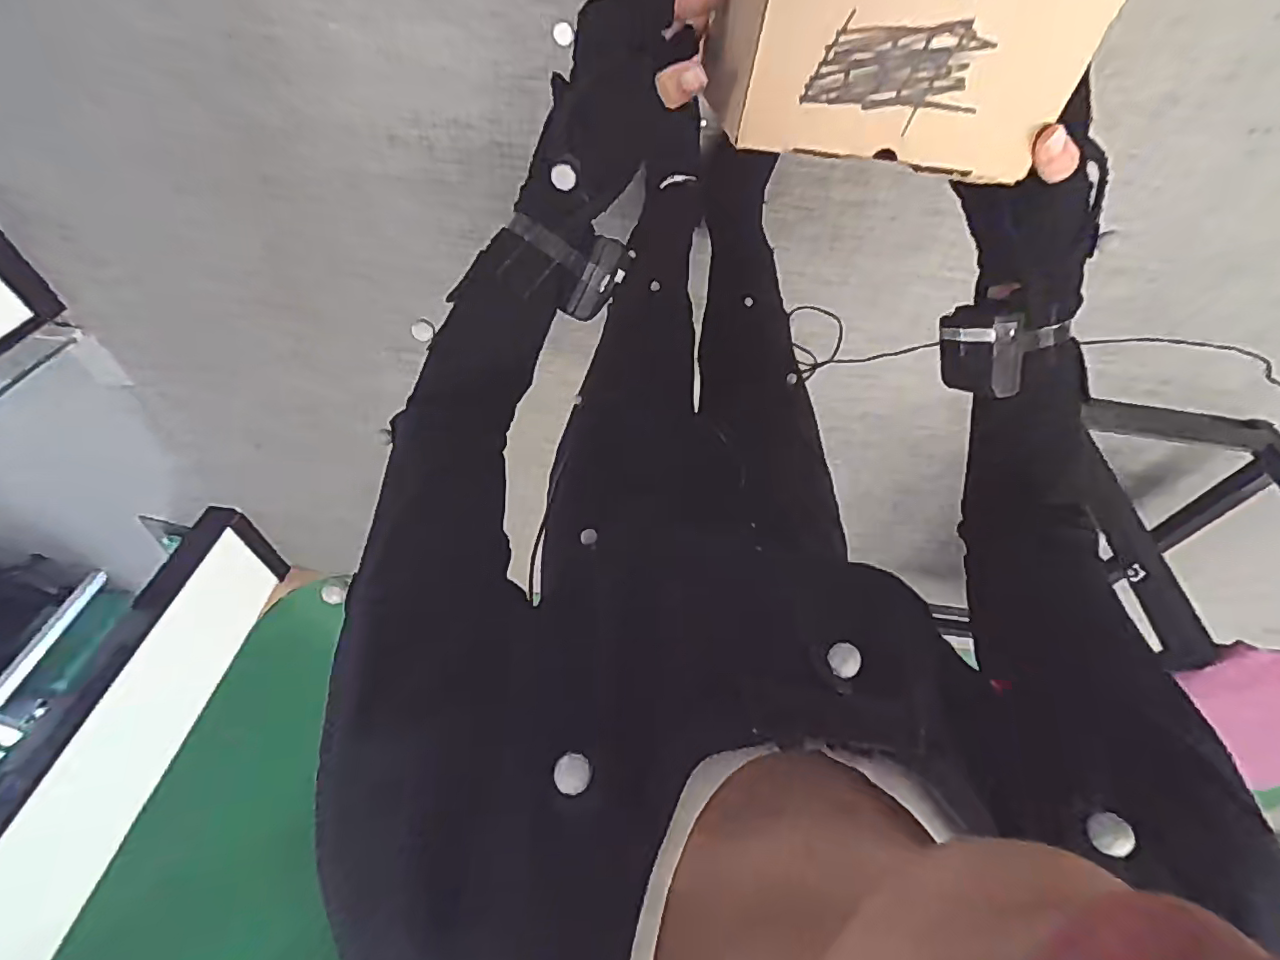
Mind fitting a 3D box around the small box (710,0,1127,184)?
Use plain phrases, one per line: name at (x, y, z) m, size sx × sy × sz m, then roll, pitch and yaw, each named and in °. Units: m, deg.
small box at (0.138, -0.287, 0.288) m, size 0.168 × 0.176 × 0.179 m, roll 2°, pitch 135°, yaw -7°
